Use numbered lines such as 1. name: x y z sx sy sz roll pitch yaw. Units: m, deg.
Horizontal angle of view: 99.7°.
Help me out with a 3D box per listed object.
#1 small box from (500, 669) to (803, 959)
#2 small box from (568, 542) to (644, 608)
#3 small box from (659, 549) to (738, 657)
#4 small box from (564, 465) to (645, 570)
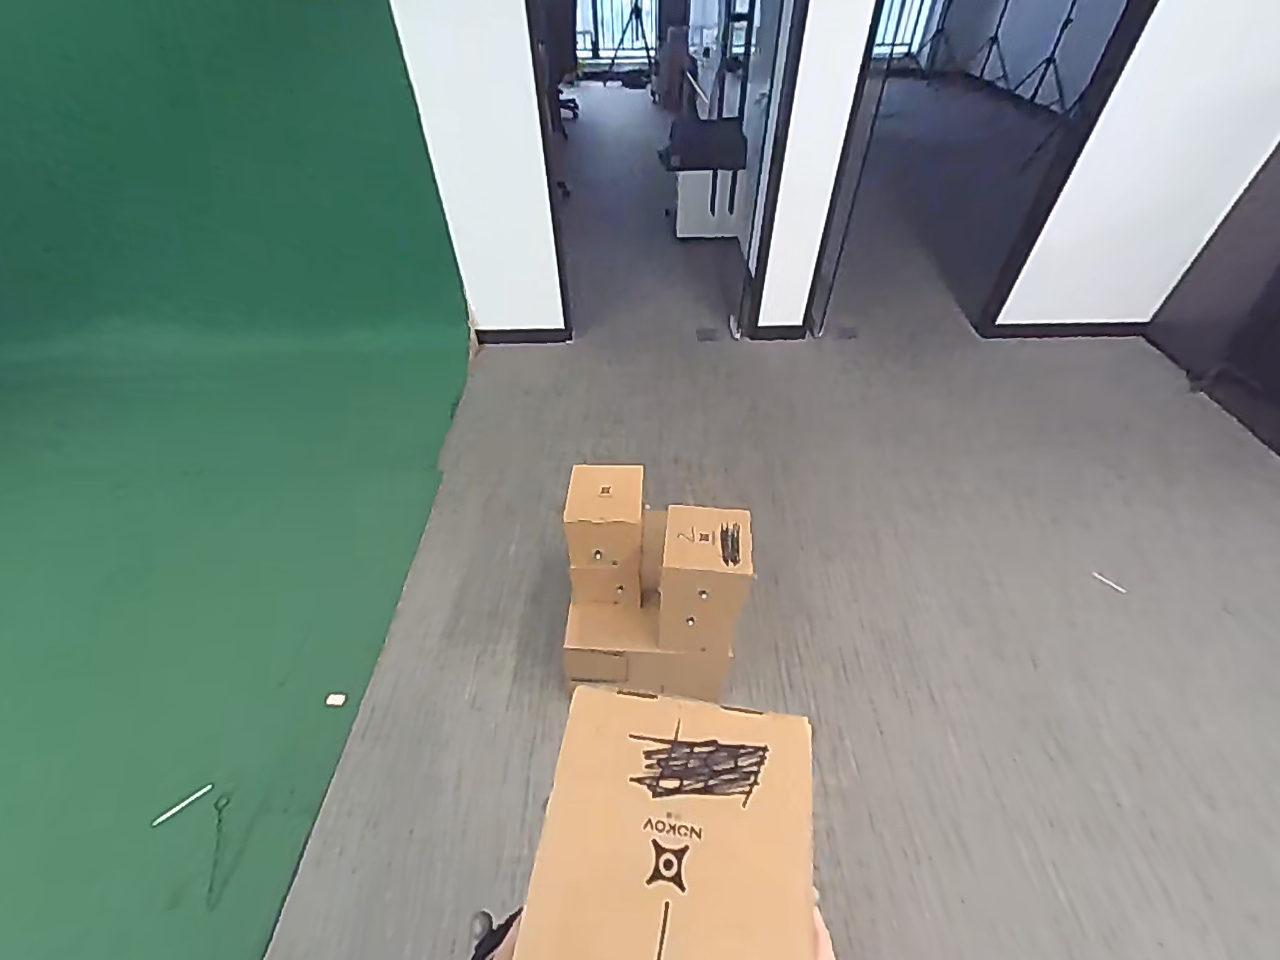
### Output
1. small box: 0.023 0.262 0.396 0.168 0.176 0.179 5 55 11
2. small box: -0.077 0.205 1.357 0.168 0.176 0.179 2 43 3
3. small box: 0.134 0.287 1.266 0.168 0.176 0.179 4 43 4
4. small box: -0.075 0.086 1.246 0.168 0.176 0.179 1 45 2
